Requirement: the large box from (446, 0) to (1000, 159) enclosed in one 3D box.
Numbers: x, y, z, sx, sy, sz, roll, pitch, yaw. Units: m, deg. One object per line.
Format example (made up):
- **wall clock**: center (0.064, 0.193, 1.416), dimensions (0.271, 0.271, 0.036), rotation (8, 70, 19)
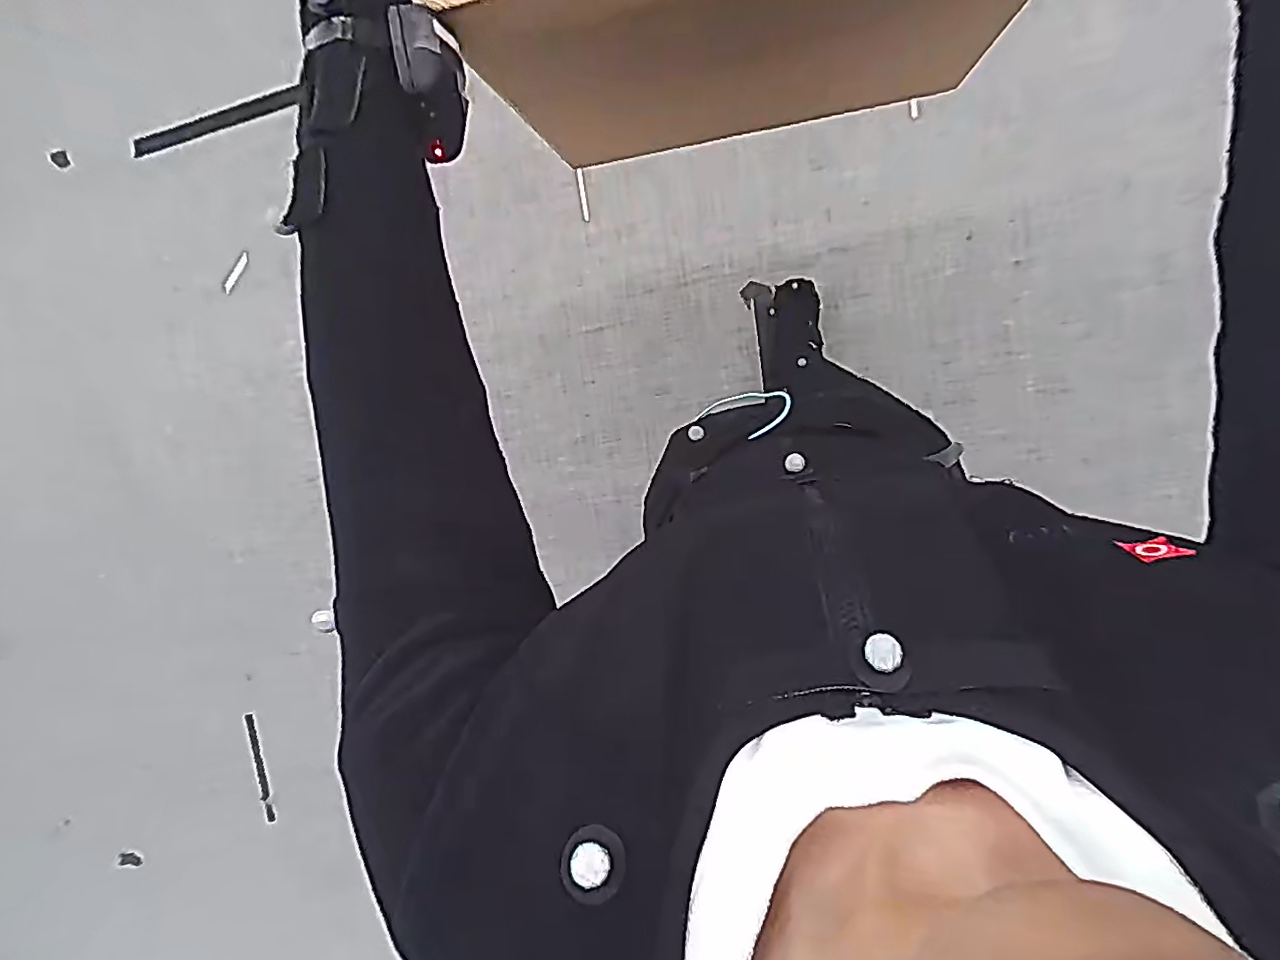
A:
- **large box**: center (0.069, -0.497, 0.407), dimensions (0.408, 0.320, 0.320), rotation (-6, 103, 11)
